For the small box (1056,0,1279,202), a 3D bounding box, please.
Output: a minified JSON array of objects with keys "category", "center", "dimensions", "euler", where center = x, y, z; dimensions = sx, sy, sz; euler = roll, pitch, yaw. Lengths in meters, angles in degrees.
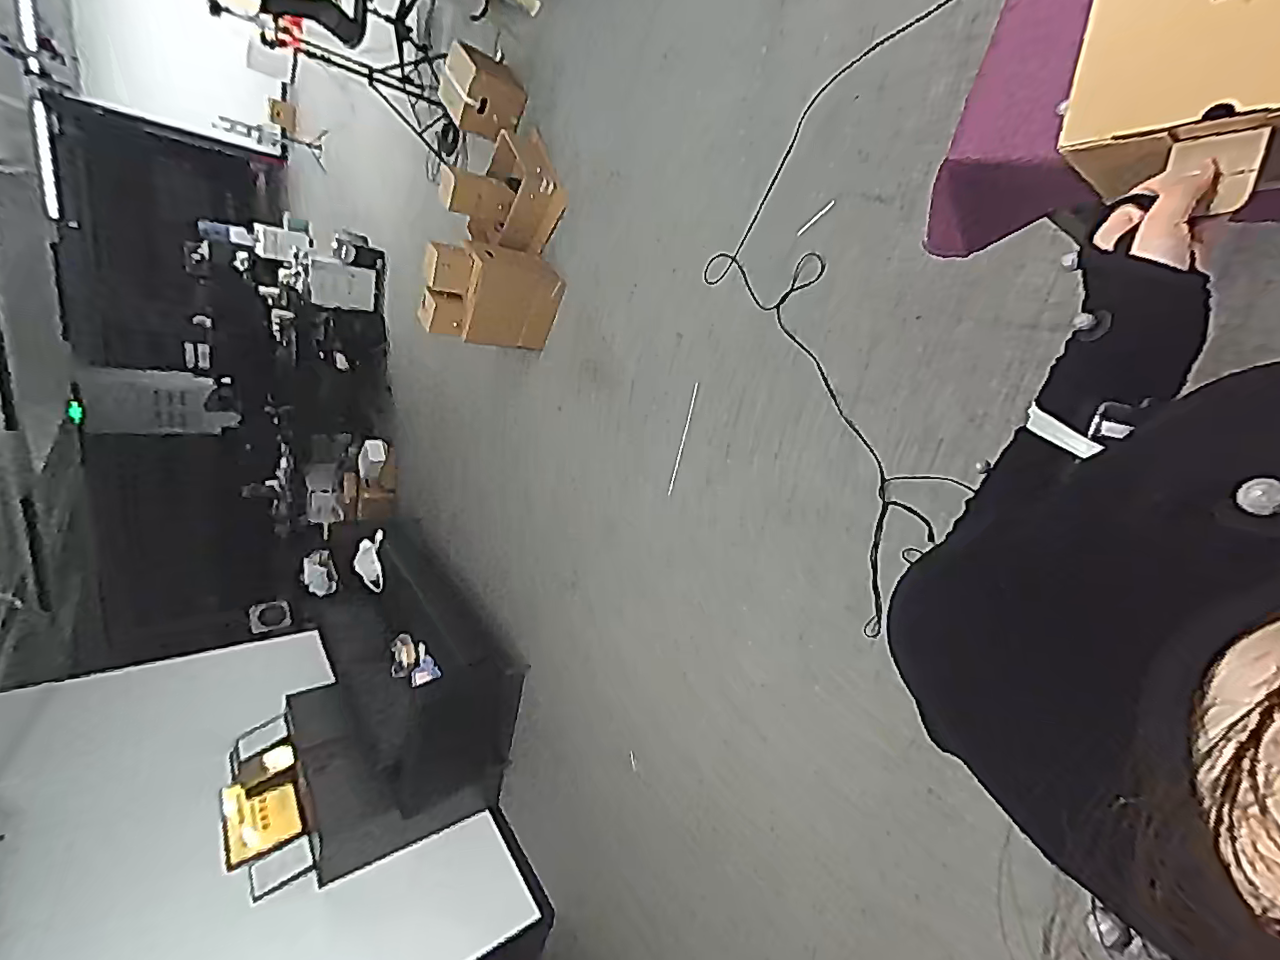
[{"category":"small box","center":[0.435,-0.320,0.382],"dimensions":[0.168,0.176,0.179],"euler":[20,111,48]}]
